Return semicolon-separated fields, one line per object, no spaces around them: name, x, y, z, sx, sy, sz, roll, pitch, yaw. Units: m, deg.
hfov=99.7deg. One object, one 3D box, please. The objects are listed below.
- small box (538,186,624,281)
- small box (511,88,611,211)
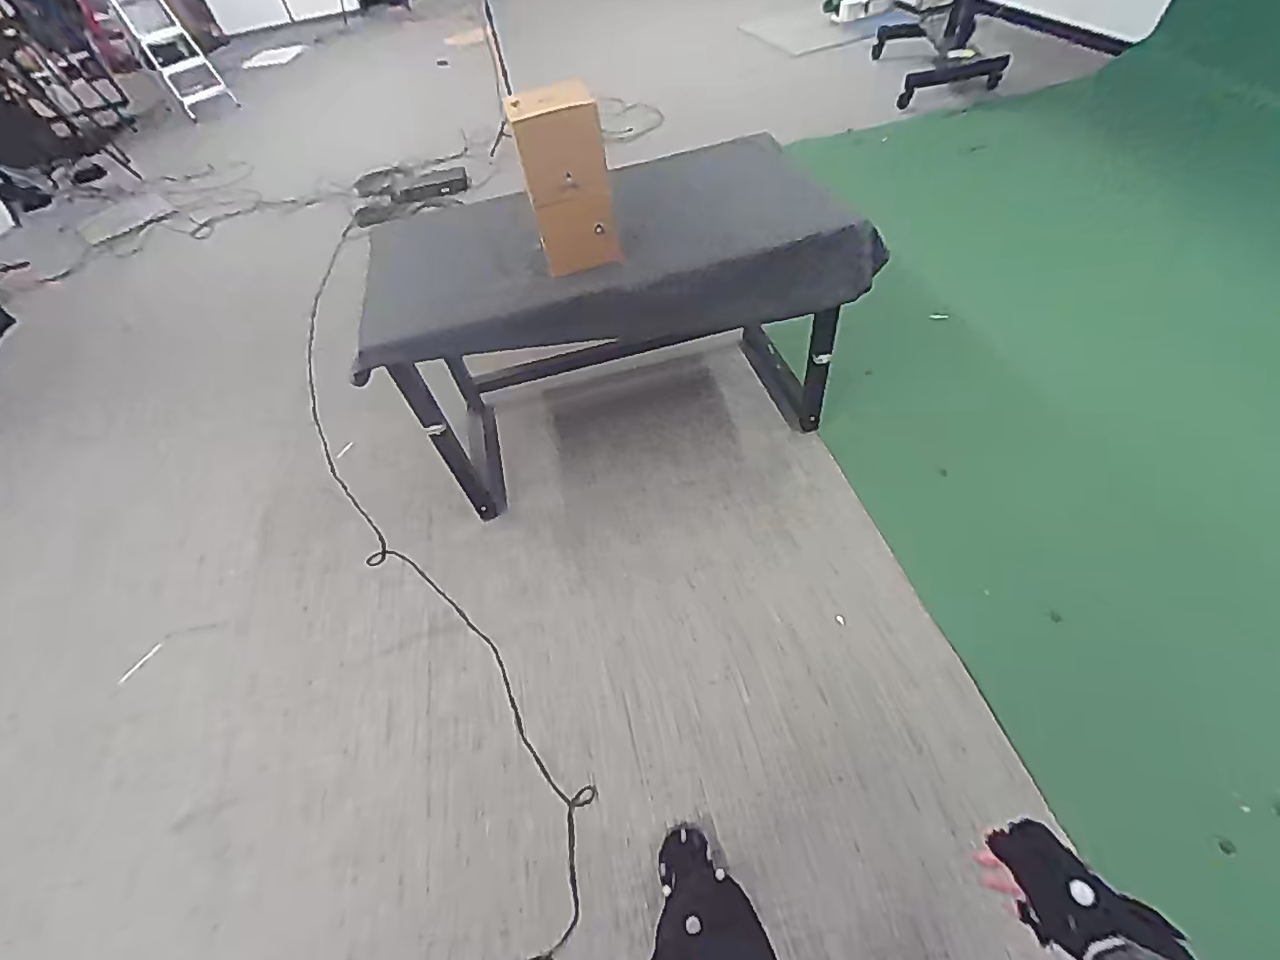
small box;-0.142;-0.604;1.289;0.179;0.176;0.168;-16;49;-3
small box;-0.165;-0.710;1.167;0.179;0.176;0.168;-16;50;-5
